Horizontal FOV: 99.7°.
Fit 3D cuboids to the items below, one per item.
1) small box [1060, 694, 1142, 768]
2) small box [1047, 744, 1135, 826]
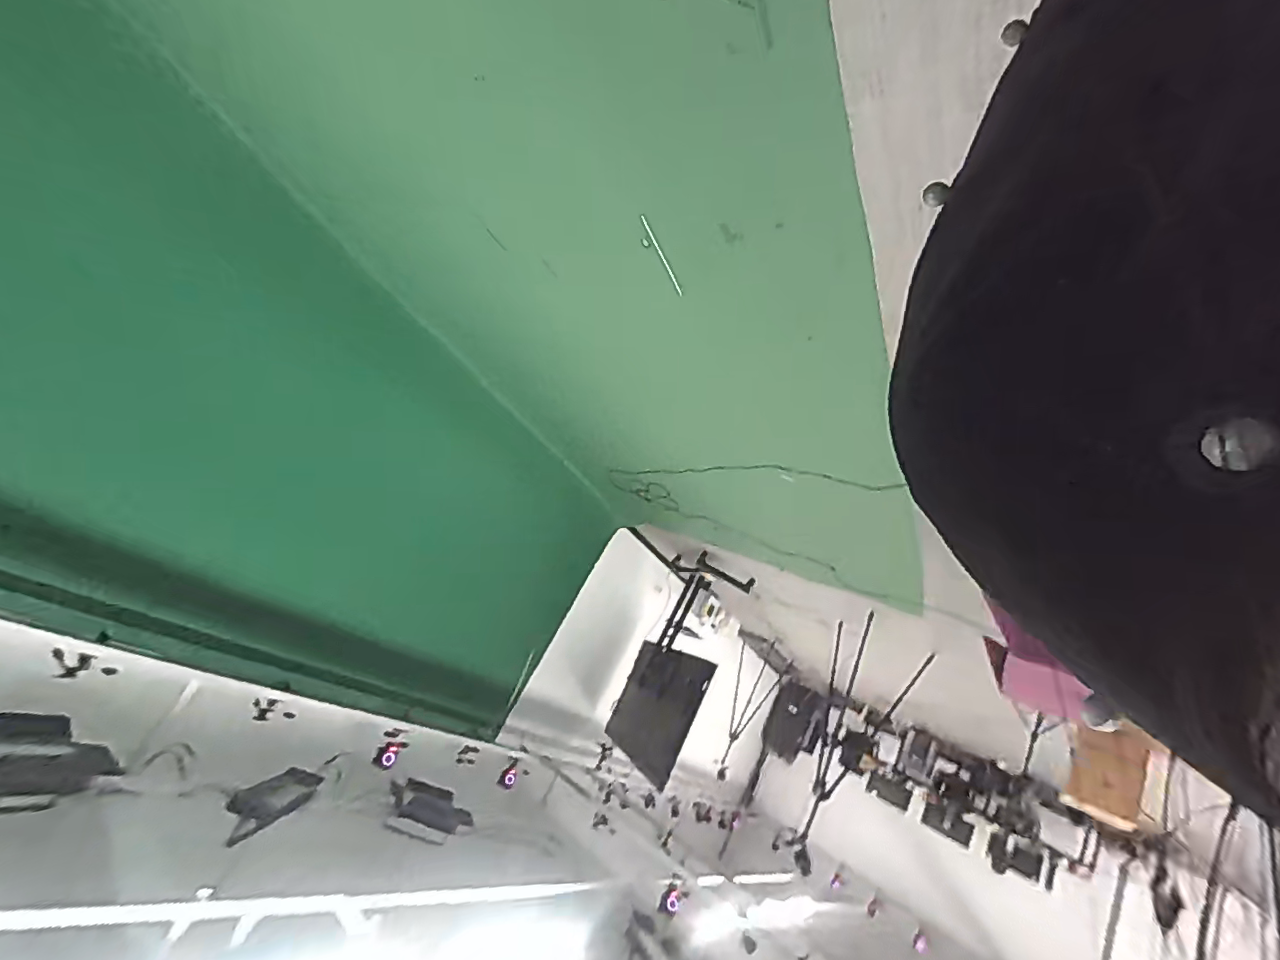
[{"bbox_3d":[1.515,0.831,1.778,0.179,0.176,0.168,14,156,39],"label":"small box"},{"bbox_3d":[1.435,0.965,1.725,0.179,0.176,0.168,15,157,38],"label":"small box"}]
